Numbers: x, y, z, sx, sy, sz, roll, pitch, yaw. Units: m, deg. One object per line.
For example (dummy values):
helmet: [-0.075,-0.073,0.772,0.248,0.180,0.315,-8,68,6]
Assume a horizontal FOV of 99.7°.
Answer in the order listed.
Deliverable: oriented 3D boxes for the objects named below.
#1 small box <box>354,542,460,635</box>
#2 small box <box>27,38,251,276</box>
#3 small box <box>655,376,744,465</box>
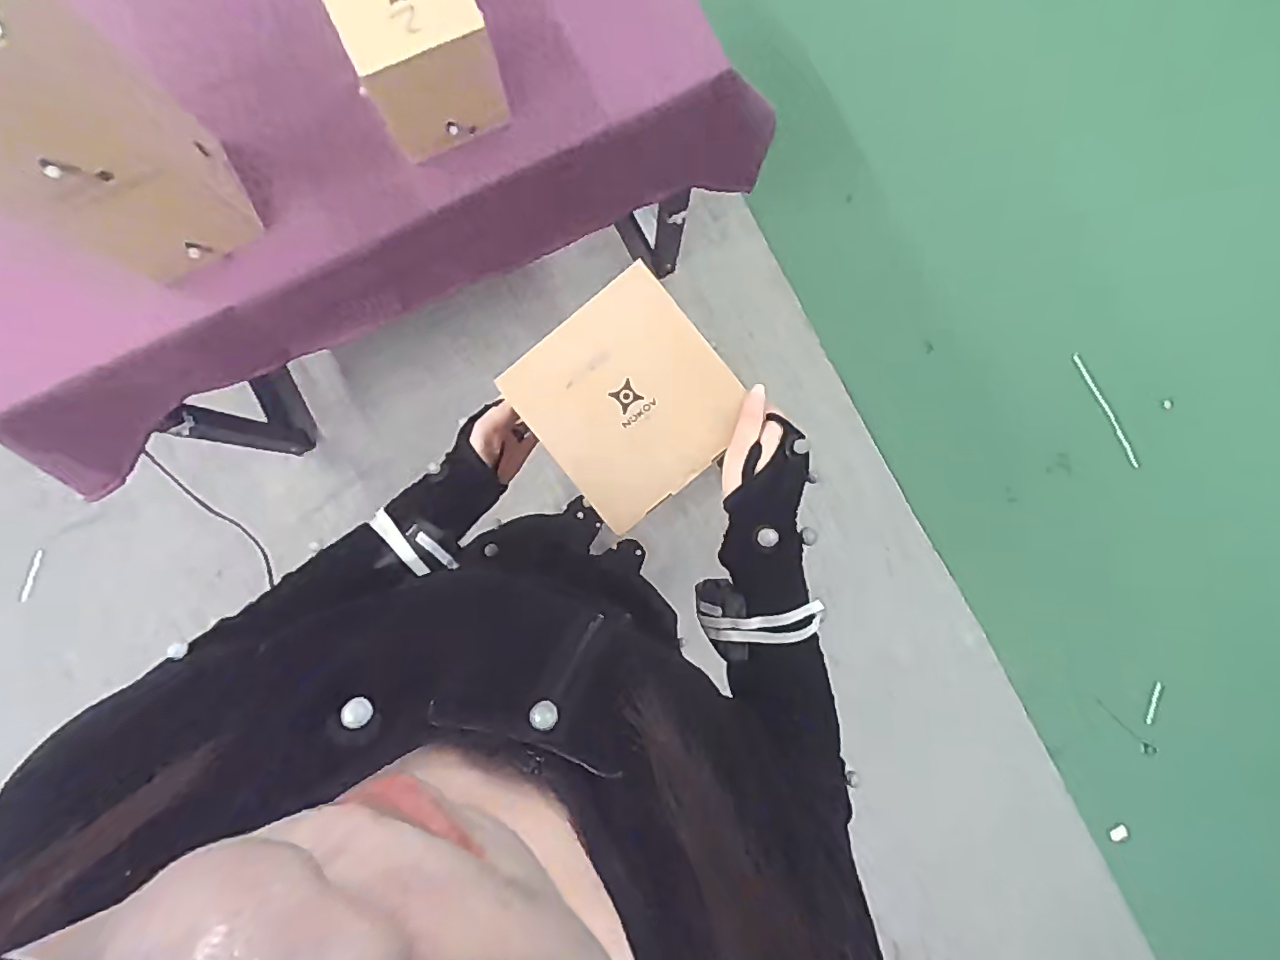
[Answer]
small box: [-0.593,0.273,1.404,0.168,0.176,0.179,-26,87,-3]
small box: [-0.654,-0.401,0.702,0.179,0.176,0.168,-29,88,-4]
small box: [0.151,-0.151,1.457,0.179,0.176,0.168,-29,89,-4]
